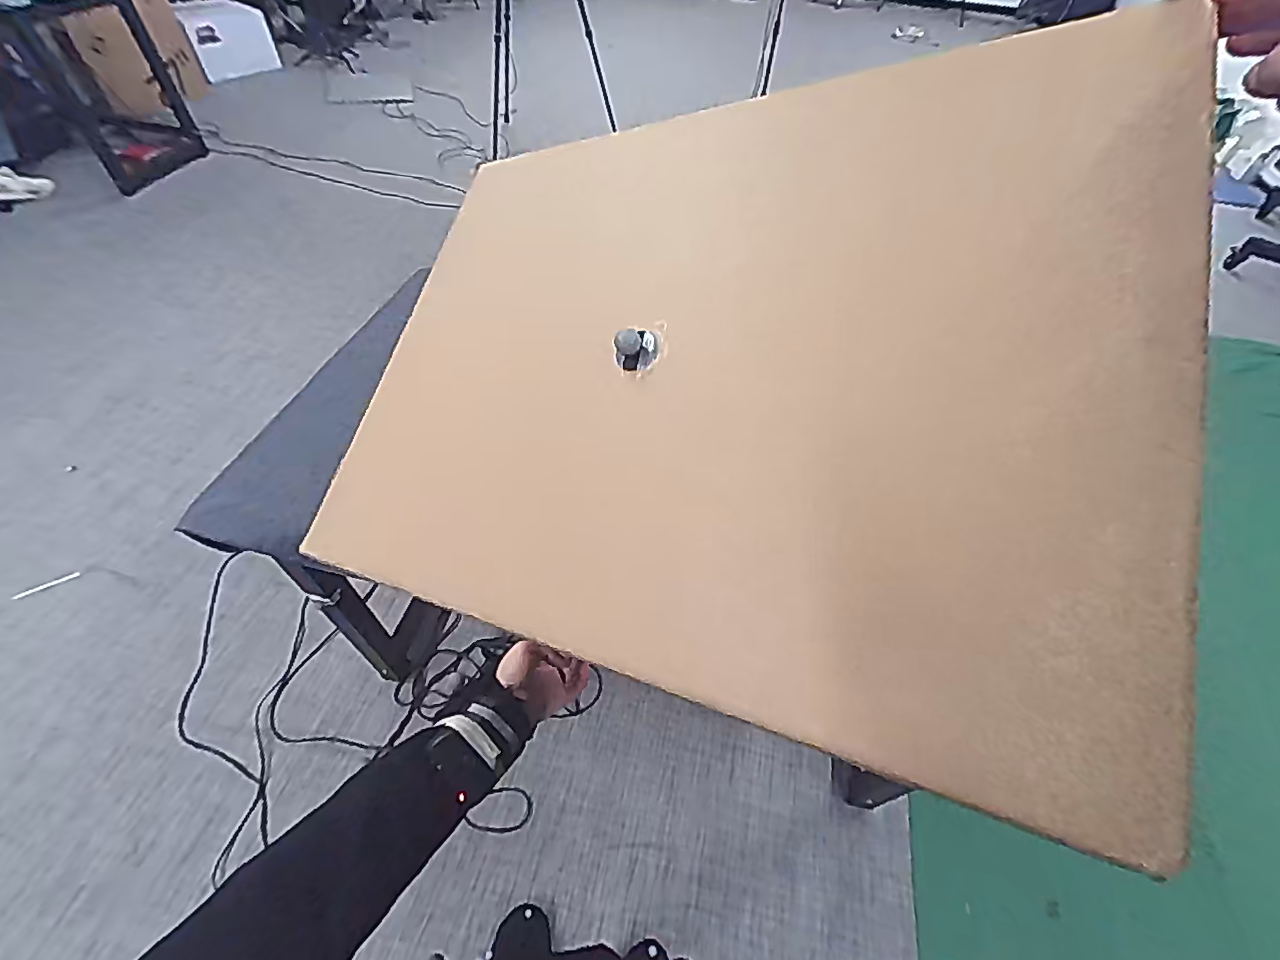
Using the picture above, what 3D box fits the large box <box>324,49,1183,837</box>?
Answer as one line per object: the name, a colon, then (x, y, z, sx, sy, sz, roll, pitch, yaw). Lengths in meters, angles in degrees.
large box: (0.071, -0.008, 0.401, 0.408, 0.320, 0.320, 7, 72, 29)
